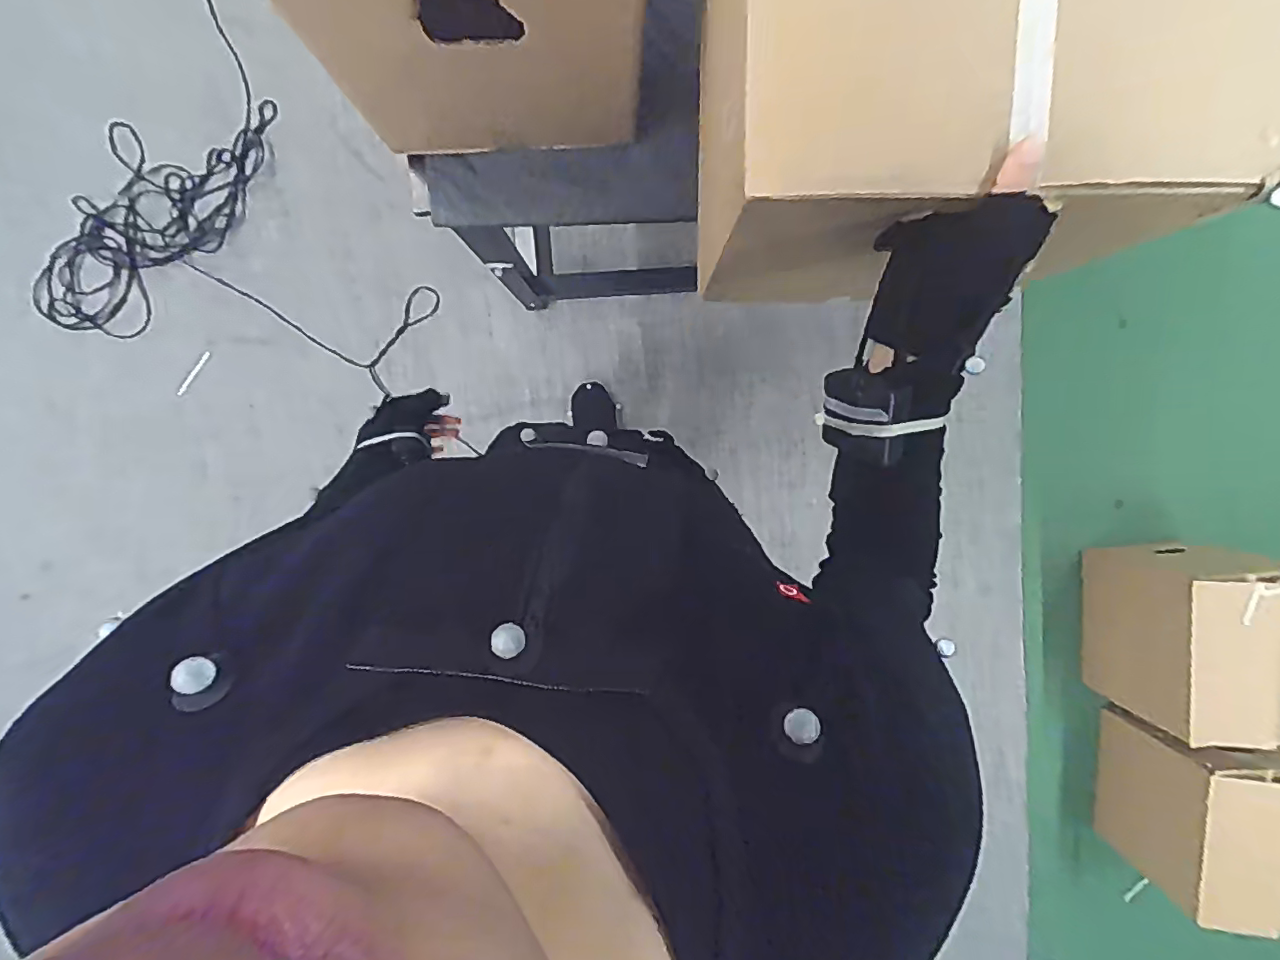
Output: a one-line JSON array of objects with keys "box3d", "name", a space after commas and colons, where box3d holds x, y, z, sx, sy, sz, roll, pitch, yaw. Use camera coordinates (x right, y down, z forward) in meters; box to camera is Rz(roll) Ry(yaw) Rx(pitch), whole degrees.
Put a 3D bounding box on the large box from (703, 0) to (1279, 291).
[{"box3d": [0.217, -0.388, 0.431, 0.320, 0.320, 0.408, 0, 99, 3], "name": "large box"}]
